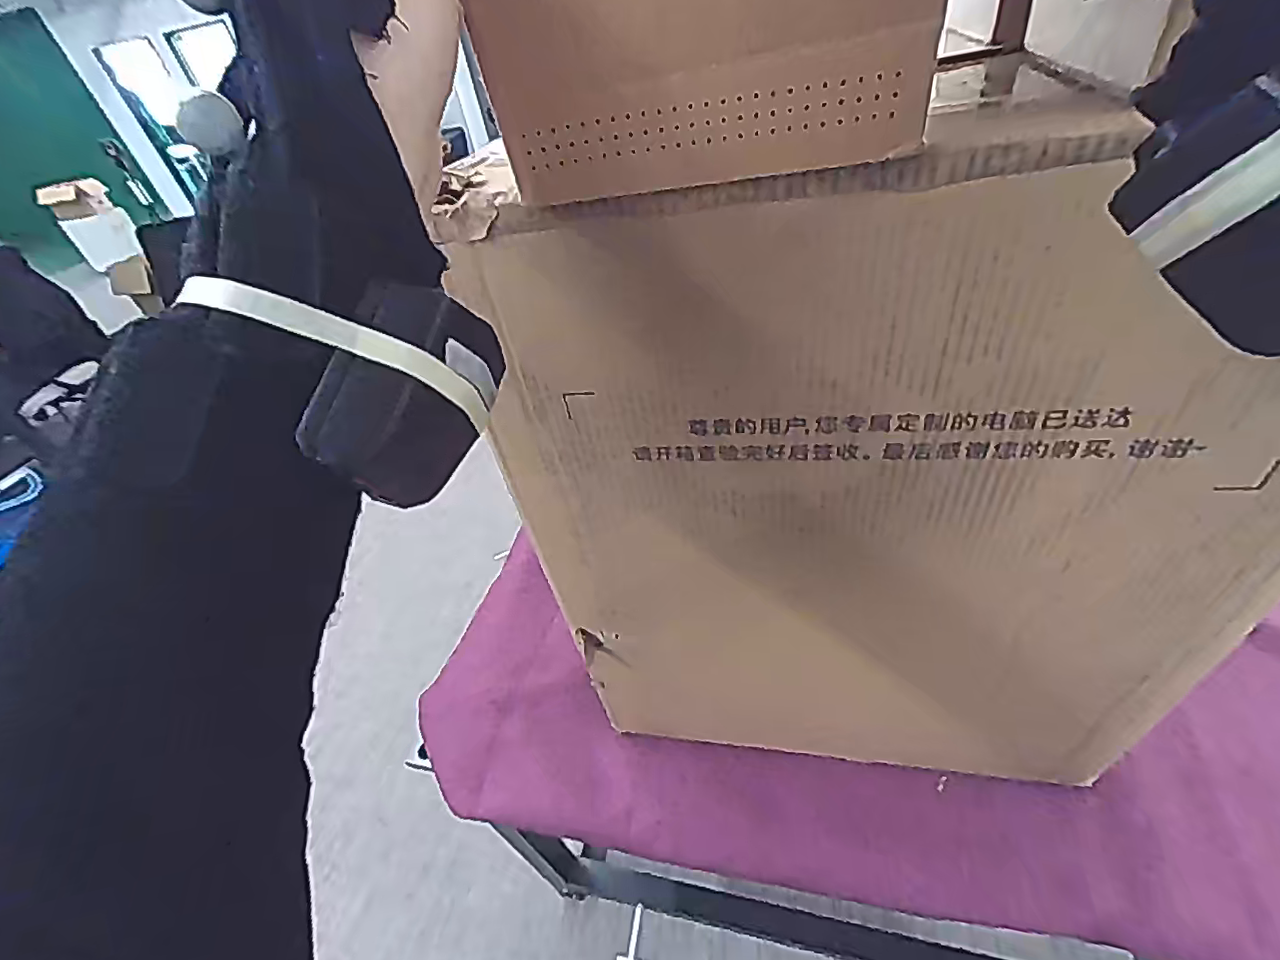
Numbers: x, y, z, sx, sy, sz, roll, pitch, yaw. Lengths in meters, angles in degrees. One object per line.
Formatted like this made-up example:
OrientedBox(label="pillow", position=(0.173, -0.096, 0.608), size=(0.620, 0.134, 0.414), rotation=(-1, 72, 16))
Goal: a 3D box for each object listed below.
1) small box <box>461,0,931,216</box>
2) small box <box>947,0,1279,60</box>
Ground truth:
OrientedBox(label="small box", position=(0.023, -0.234, 0.234), size=(0.179, 0.176, 0.168), rotation=(-2, 49, 11))
OrientedBox(label="small box", position=(0.316, -0.393, 0.350), size=(0.168, 0.176, 0.179), rotation=(1, 42, 17))
